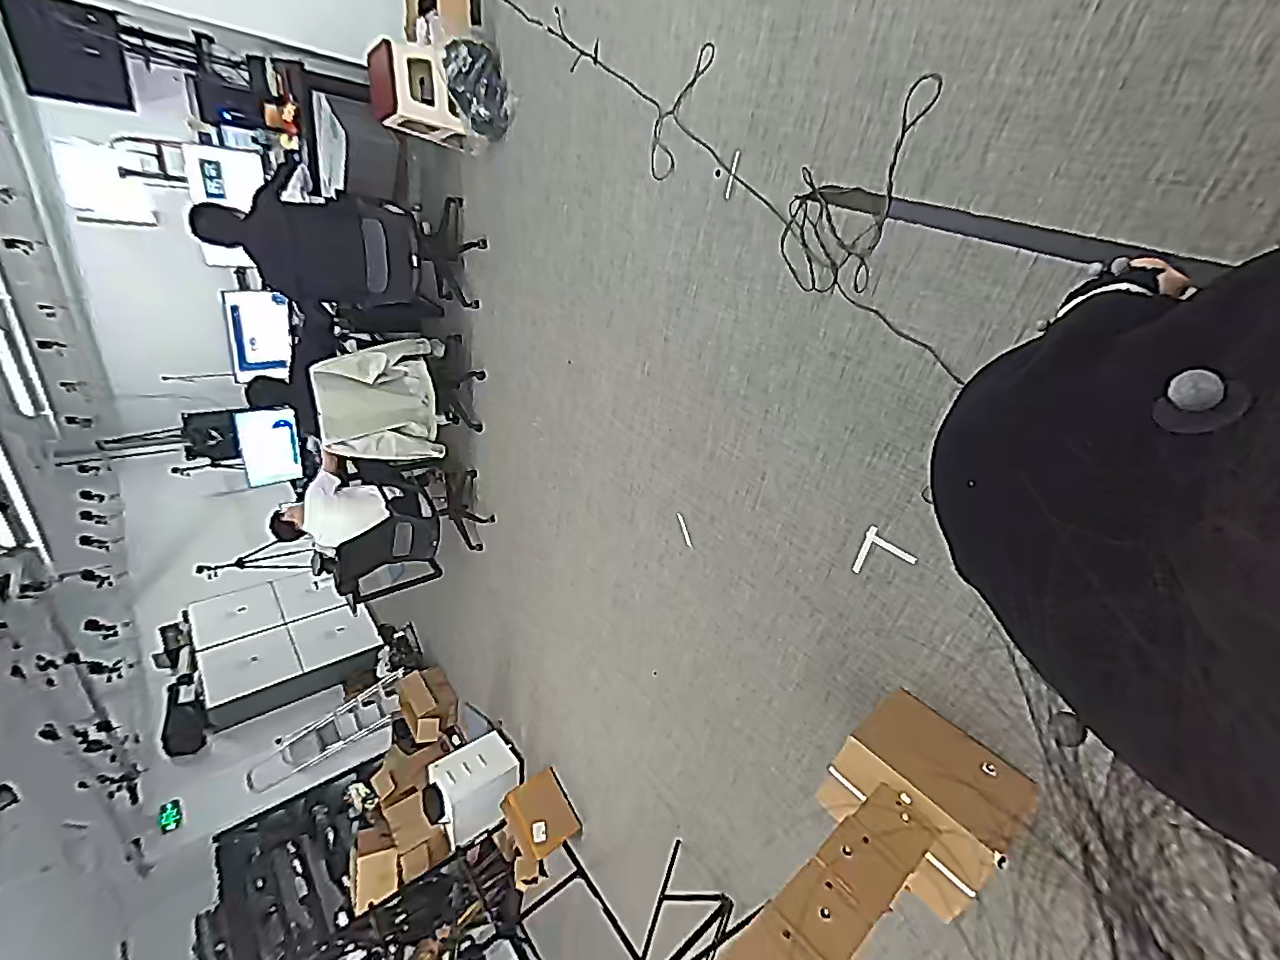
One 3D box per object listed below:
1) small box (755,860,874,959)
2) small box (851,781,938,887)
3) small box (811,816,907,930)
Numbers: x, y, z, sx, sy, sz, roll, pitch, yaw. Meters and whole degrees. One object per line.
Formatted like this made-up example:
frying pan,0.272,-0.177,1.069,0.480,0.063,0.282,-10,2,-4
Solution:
small box,0.381,0.988,1.177,0.168,0.176,0.179,29,122,43
small box,0.627,0.924,1.383,0.168,0.176,0.179,34,125,39
small box,0.503,0.950,1.281,0.168,0.176,0.179,34,126,41
